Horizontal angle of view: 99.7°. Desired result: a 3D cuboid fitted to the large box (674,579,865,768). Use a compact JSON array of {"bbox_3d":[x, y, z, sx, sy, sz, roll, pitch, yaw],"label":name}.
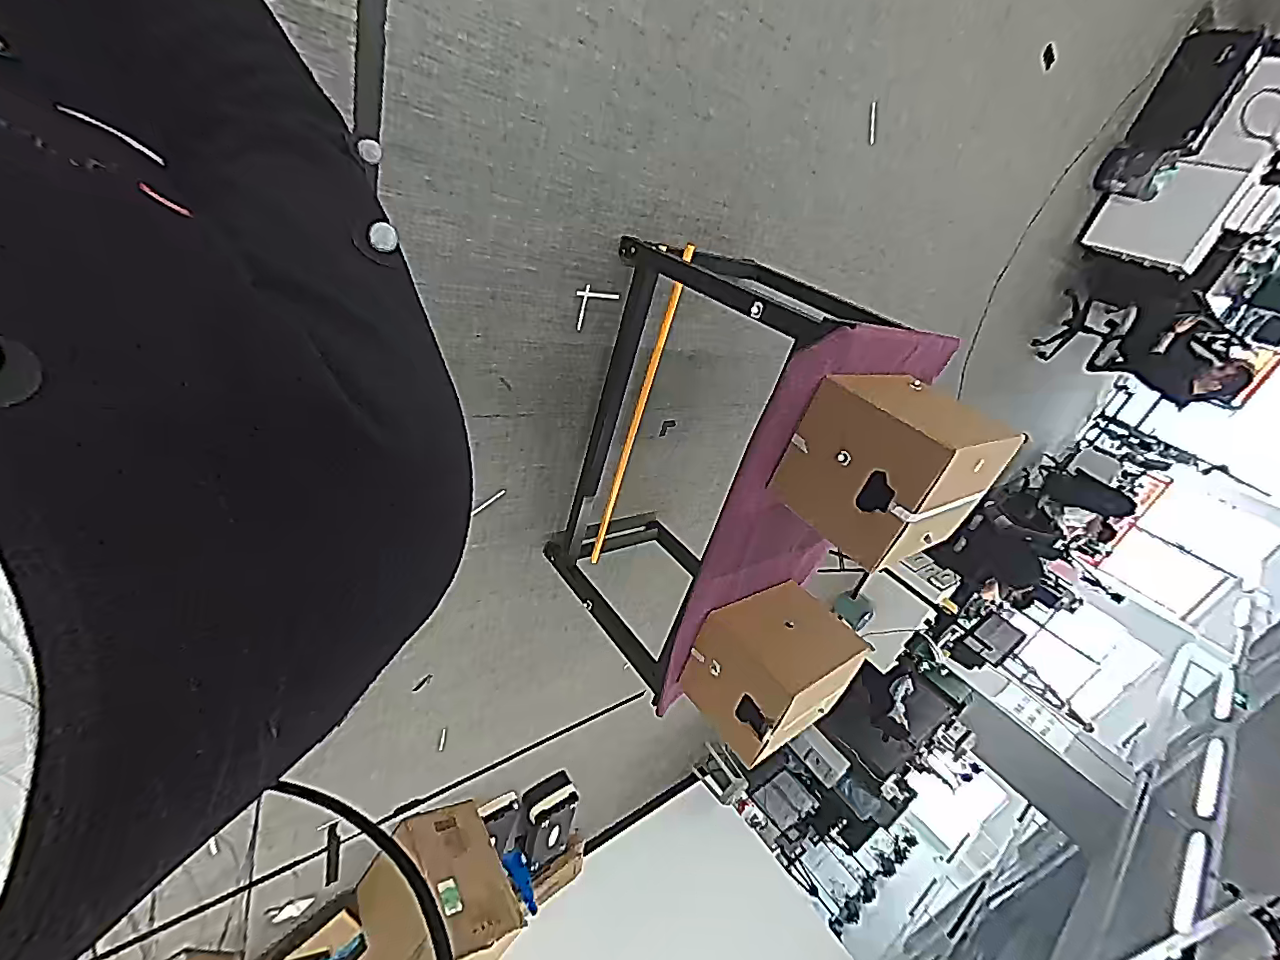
[{"bbox_3d":[0.373,0.545,1.597,0.408,0.320,0.320,-10,130,-41],"label":"large box"}]
